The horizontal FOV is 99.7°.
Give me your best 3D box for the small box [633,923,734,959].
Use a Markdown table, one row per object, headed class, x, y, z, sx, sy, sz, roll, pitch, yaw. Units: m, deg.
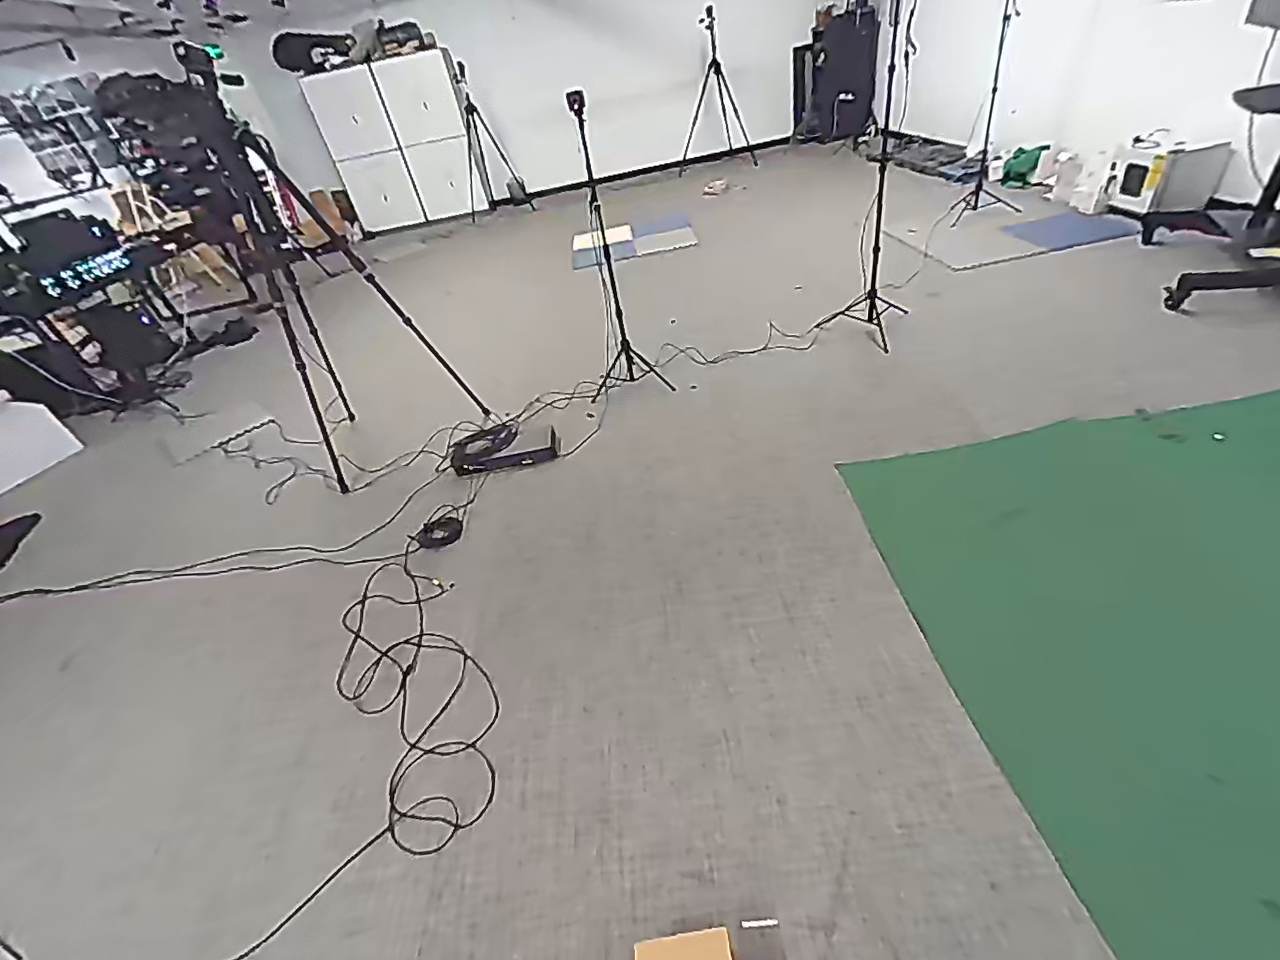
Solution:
| class | x | y | z | sx | sy | sz | roll | pitch | yaw |
| --- | --- | --- | --- | --- | --- | --- | --- | --- | --- |
| small box | 0.091 | 0.926 | 0.966 | 0.179 | 0.176 | 0.168 | -11 | 39 | 1 |
